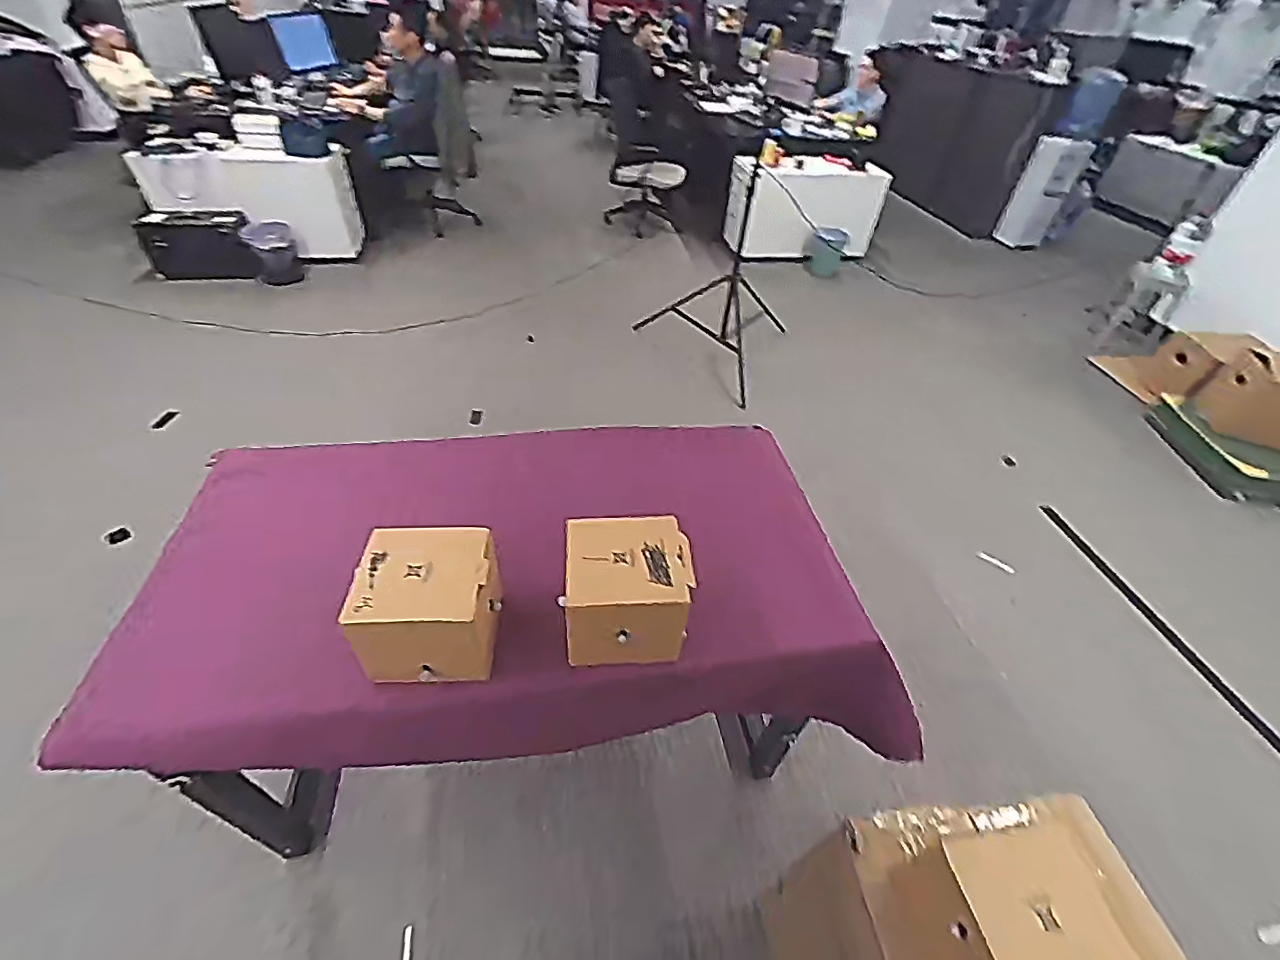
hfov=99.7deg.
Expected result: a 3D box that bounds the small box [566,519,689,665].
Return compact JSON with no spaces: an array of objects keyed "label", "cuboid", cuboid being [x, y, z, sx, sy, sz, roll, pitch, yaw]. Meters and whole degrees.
[{"label":"small box","cuboid":[-0.027,0.179,0.865,0.179,0.176,0.168,-1,42,-5]}]

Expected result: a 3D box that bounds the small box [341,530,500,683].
[{"label":"small box","cuboid":[-0.315,0.194,0.823,0.179,0.176,0.168,0,42,-6]}]

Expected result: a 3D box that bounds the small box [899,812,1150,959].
[{"label":"small box","cuboid":[0.458,0.545,0.669,0.168,0.176,0.179,-7,45,-8]}]
